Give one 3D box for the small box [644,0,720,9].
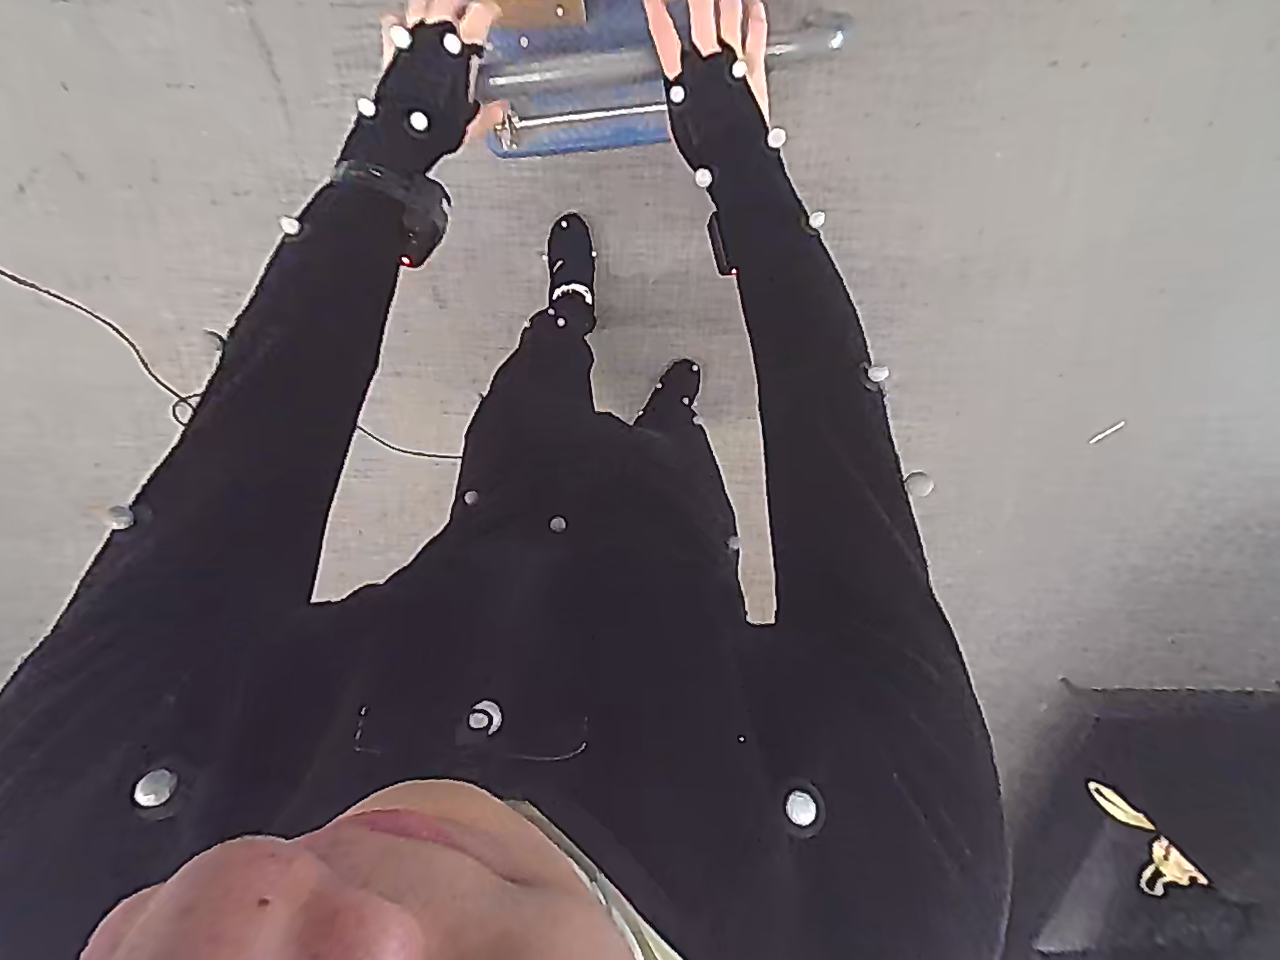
[{"bbox_3d":[0.078,-0.964,0.938,0.168,0.176,0.179,-4,116,2],"label":"small box"}]
